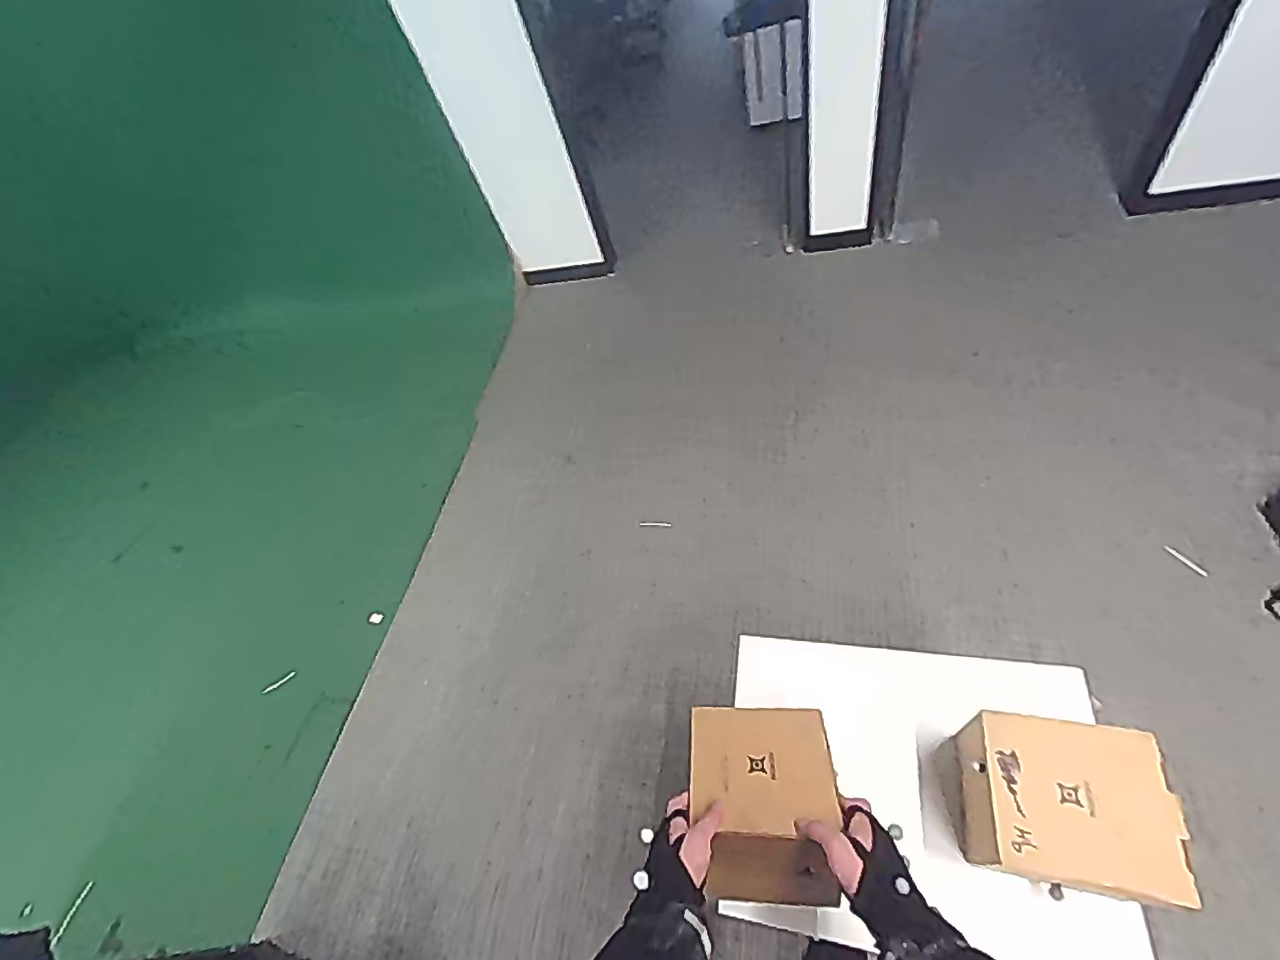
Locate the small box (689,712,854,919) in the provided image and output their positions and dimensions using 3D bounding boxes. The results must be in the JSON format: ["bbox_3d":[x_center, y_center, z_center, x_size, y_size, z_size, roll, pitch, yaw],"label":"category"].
[{"bbox_3d":[0.154,0.419,0.684,0.179,0.176,0.168,-4,28,7],"label":"small box"}]

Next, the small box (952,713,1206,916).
[{"bbox_3d":[0.508,0.403,0.661,0.179,0.176,0.168,3,55,16],"label":"small box"}]
